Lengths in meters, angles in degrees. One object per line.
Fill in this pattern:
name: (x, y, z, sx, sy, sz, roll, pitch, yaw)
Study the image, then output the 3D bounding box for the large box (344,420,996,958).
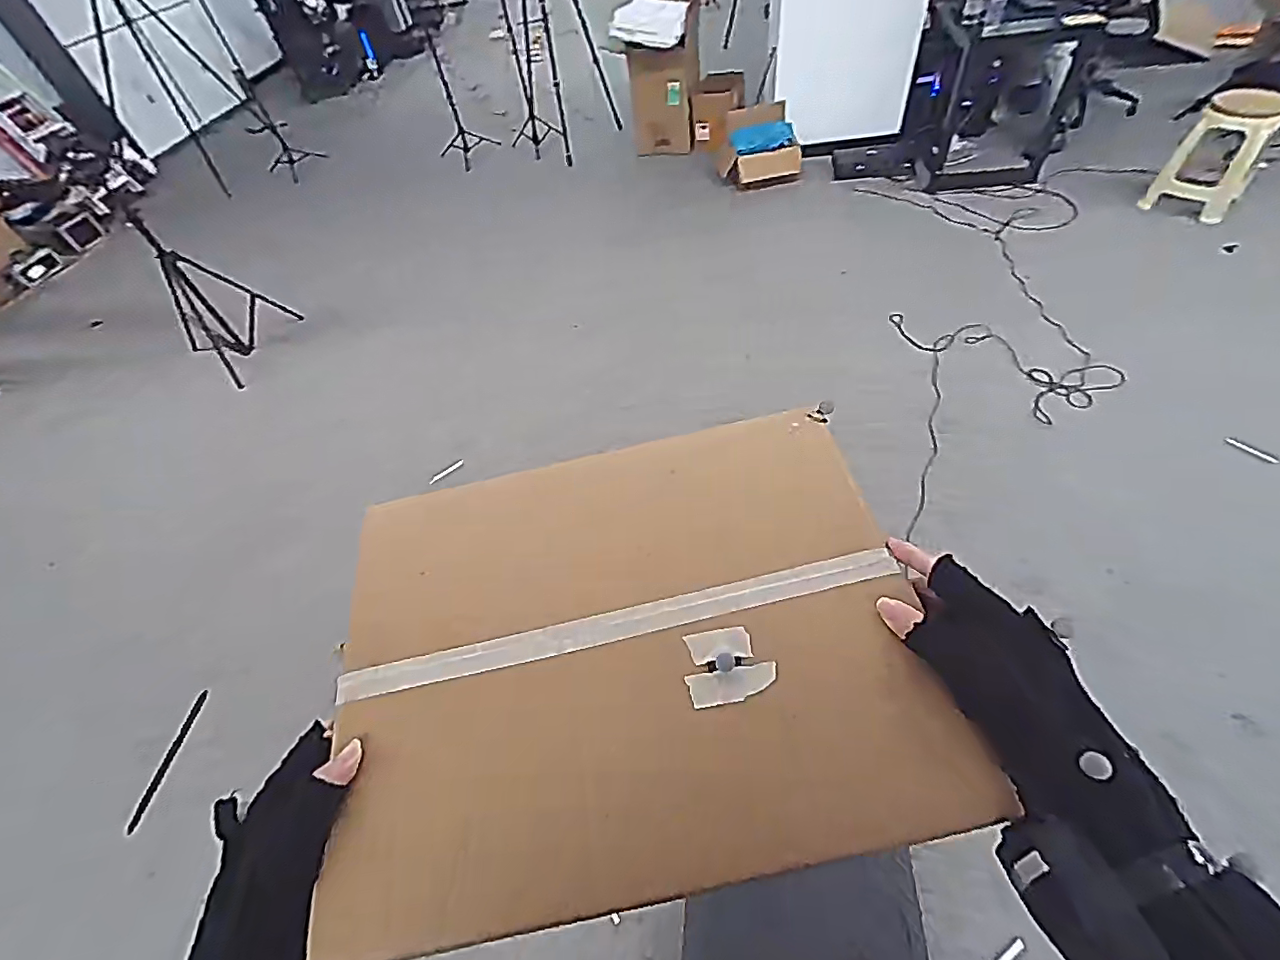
large box: (0.009, 0.195, 0.521, 0.408, 0.320, 0.320, -13, 55, 0)
